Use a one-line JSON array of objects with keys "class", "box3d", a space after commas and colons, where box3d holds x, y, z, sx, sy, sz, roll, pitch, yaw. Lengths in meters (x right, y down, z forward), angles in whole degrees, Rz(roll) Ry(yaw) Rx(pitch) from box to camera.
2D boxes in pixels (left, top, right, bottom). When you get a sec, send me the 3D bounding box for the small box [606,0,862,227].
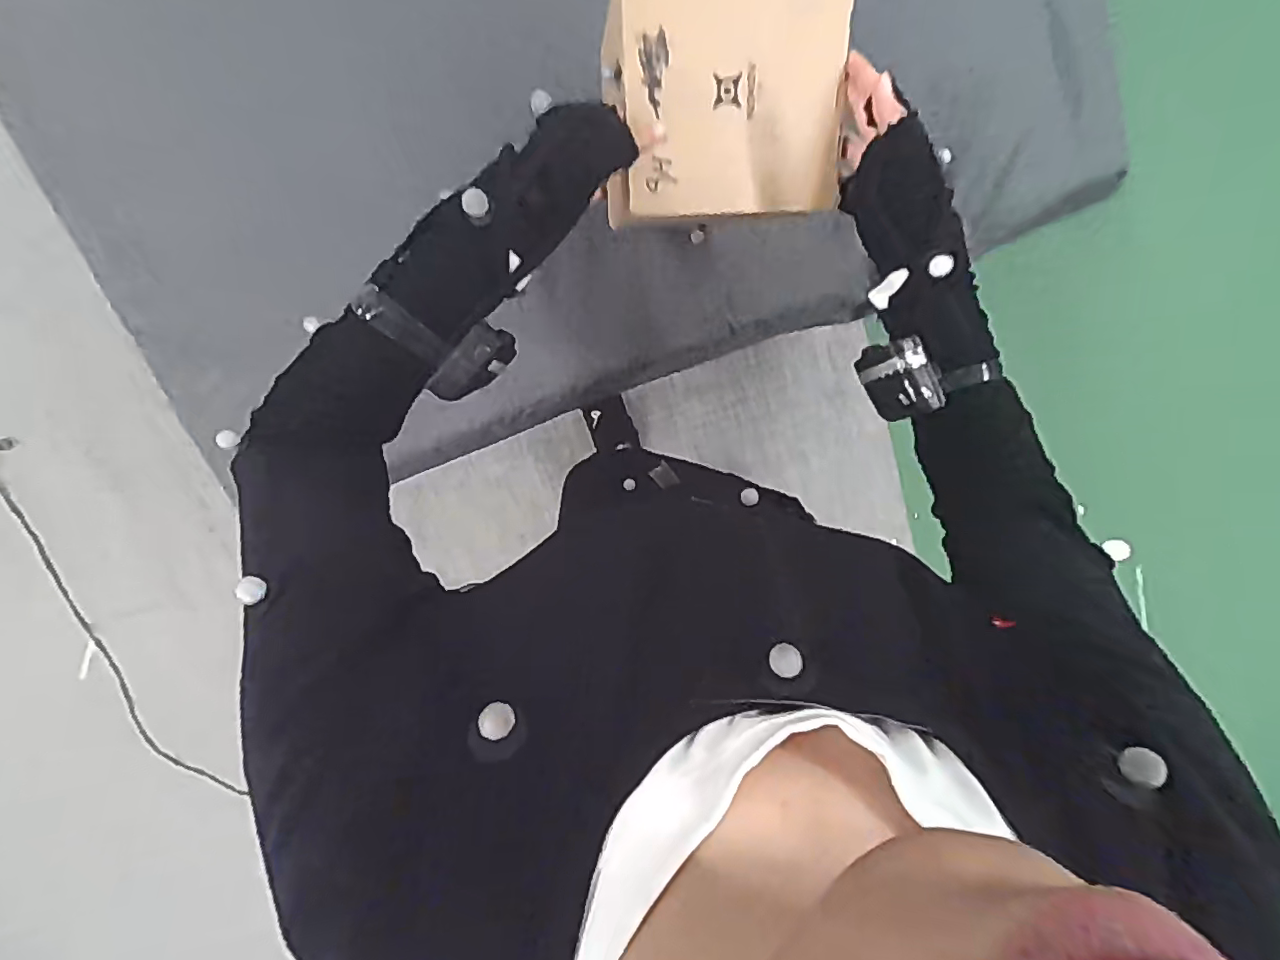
[{"class": "small box", "box3d": [0.066, -0.324, 0.484, 0.179, 0.176, 0.168, -3, 112, -8]}]
